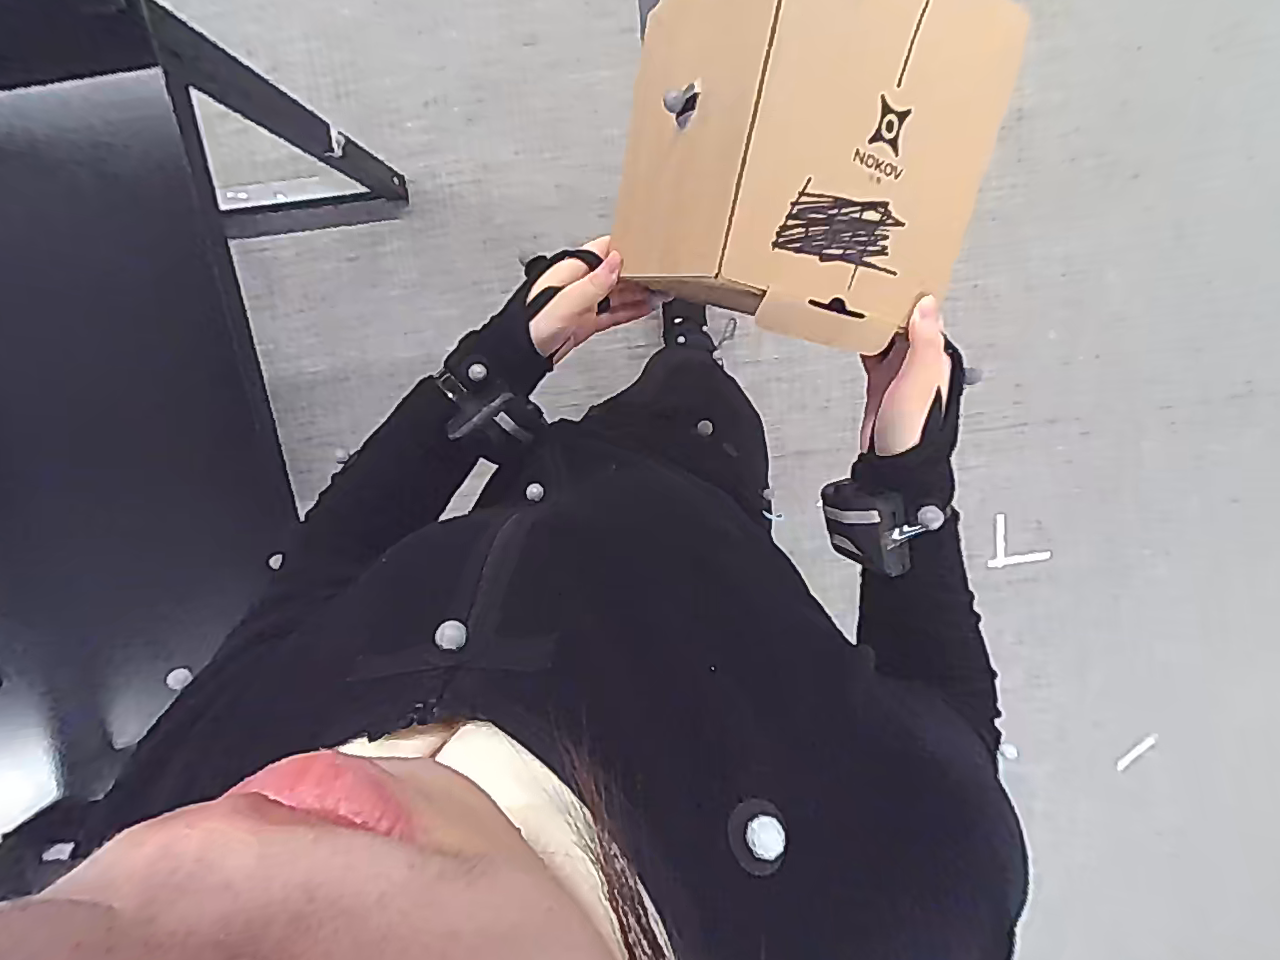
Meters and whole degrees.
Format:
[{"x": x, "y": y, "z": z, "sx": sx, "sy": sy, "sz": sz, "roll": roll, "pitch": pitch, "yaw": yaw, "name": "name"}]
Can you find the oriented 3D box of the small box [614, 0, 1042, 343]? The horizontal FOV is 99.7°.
[{"x": 0.095, "y": -0.197, "z": 0.346, "sx": 0.168, "sy": 0.176, "sz": 0.179, "roll": 4, "pitch": 106, "yaw": -27, "name": "small box"}]
